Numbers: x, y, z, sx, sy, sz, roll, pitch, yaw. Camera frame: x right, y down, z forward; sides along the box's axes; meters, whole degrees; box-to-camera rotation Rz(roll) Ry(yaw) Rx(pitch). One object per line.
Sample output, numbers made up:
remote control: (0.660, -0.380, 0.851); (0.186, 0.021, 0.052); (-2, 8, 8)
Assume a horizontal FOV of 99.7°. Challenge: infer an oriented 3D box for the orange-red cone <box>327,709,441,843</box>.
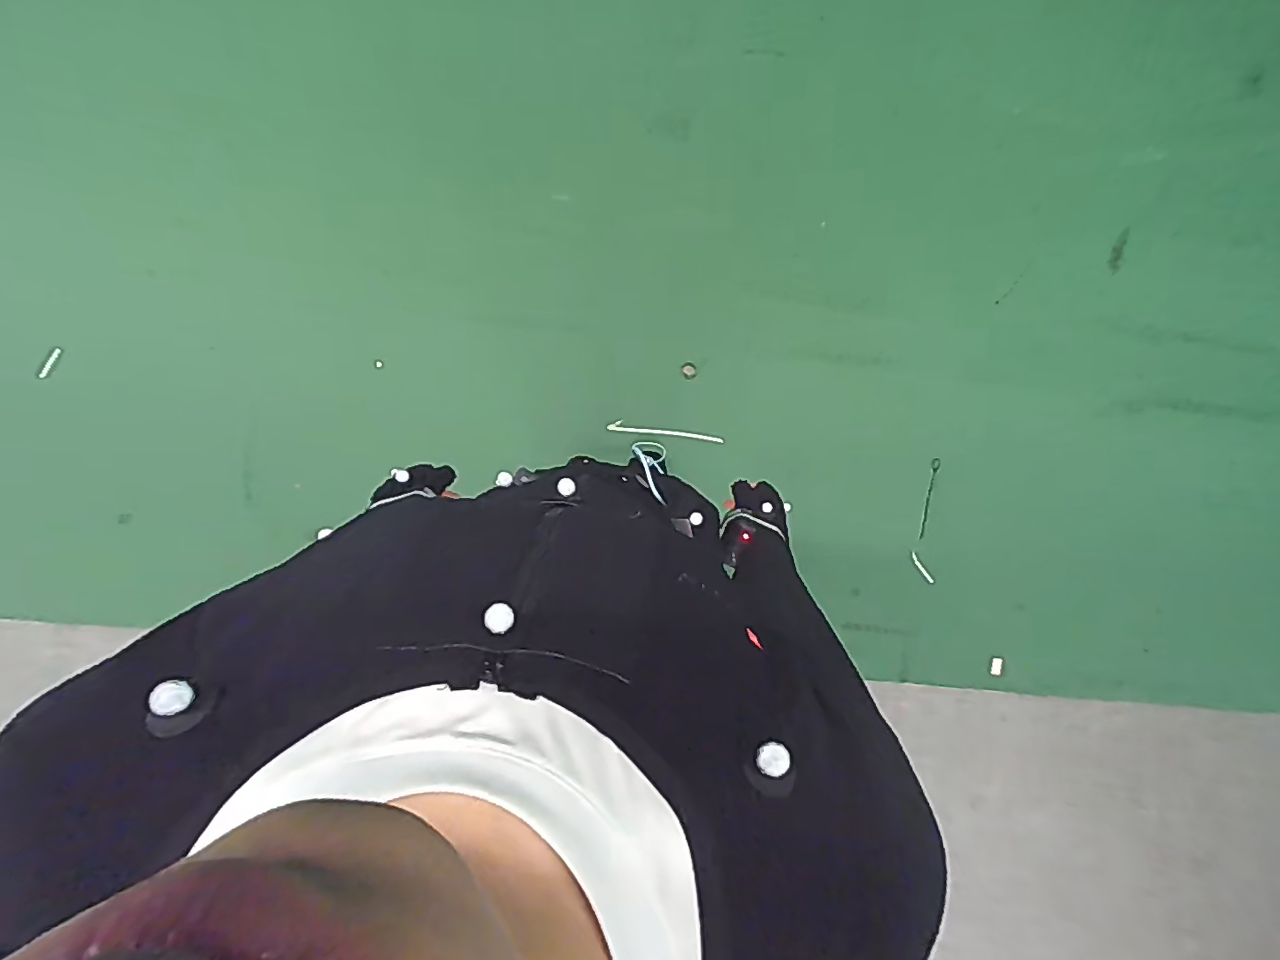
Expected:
orange-red cone: (-0.648, 0.745, 1.322); (0.198, 0.360, 0.199); (6, 94, -2)
